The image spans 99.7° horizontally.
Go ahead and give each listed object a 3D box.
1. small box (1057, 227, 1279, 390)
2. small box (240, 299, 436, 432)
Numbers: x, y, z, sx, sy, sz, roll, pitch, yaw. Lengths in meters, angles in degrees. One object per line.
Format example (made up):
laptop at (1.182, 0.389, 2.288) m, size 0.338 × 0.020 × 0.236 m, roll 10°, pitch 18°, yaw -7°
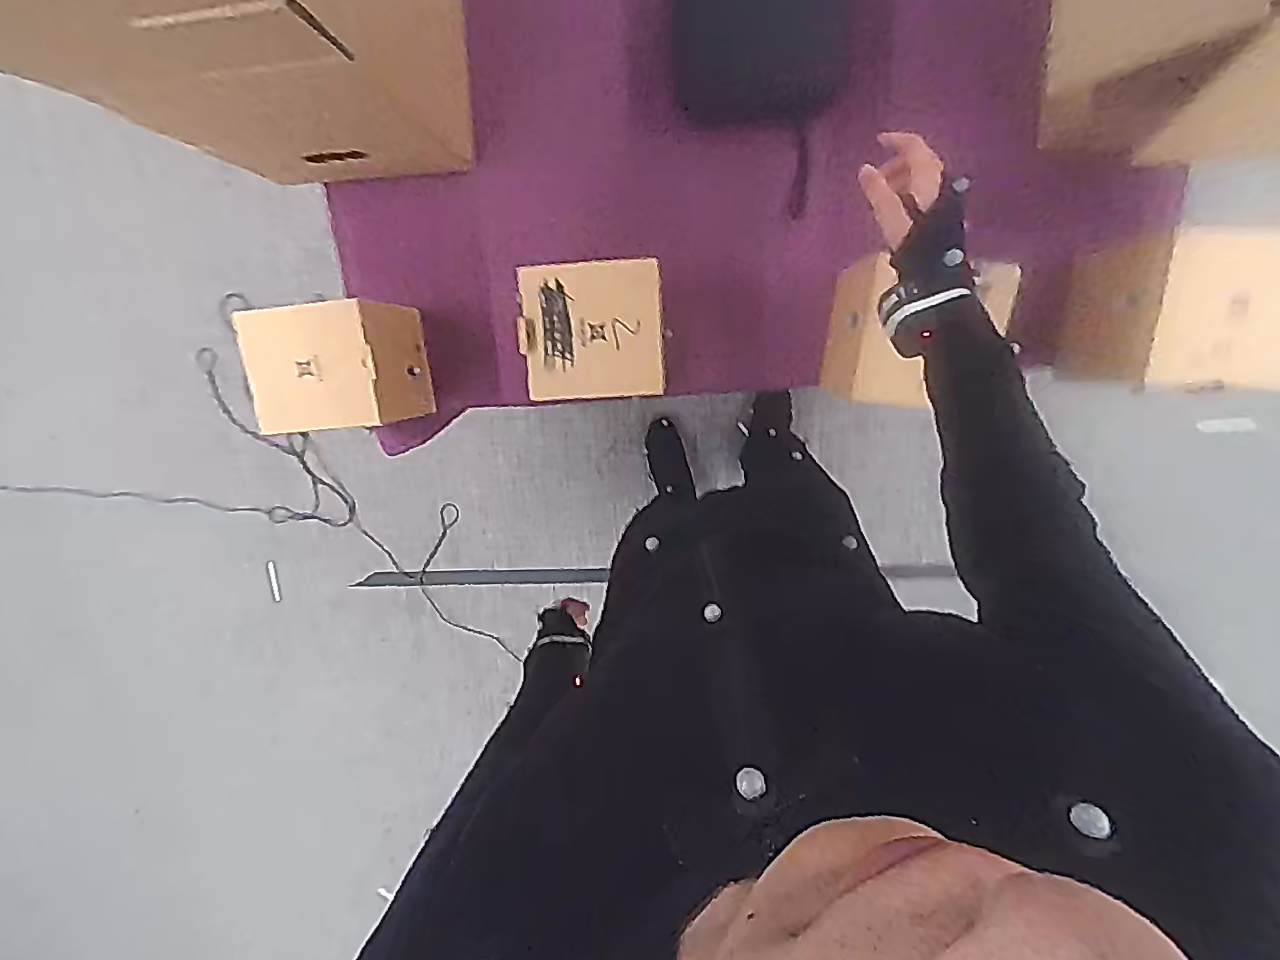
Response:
small box at (0.684, -0.210, 0.696) m, size 0.168 × 0.176 × 0.179 m, roll 3°, pitch 102°, yaw 5°
small box at (-0.430, -0.165, 0.798) m, size 0.179 × 0.176 × 0.168 m, roll -5°, pitch 102°, yaw 5°
